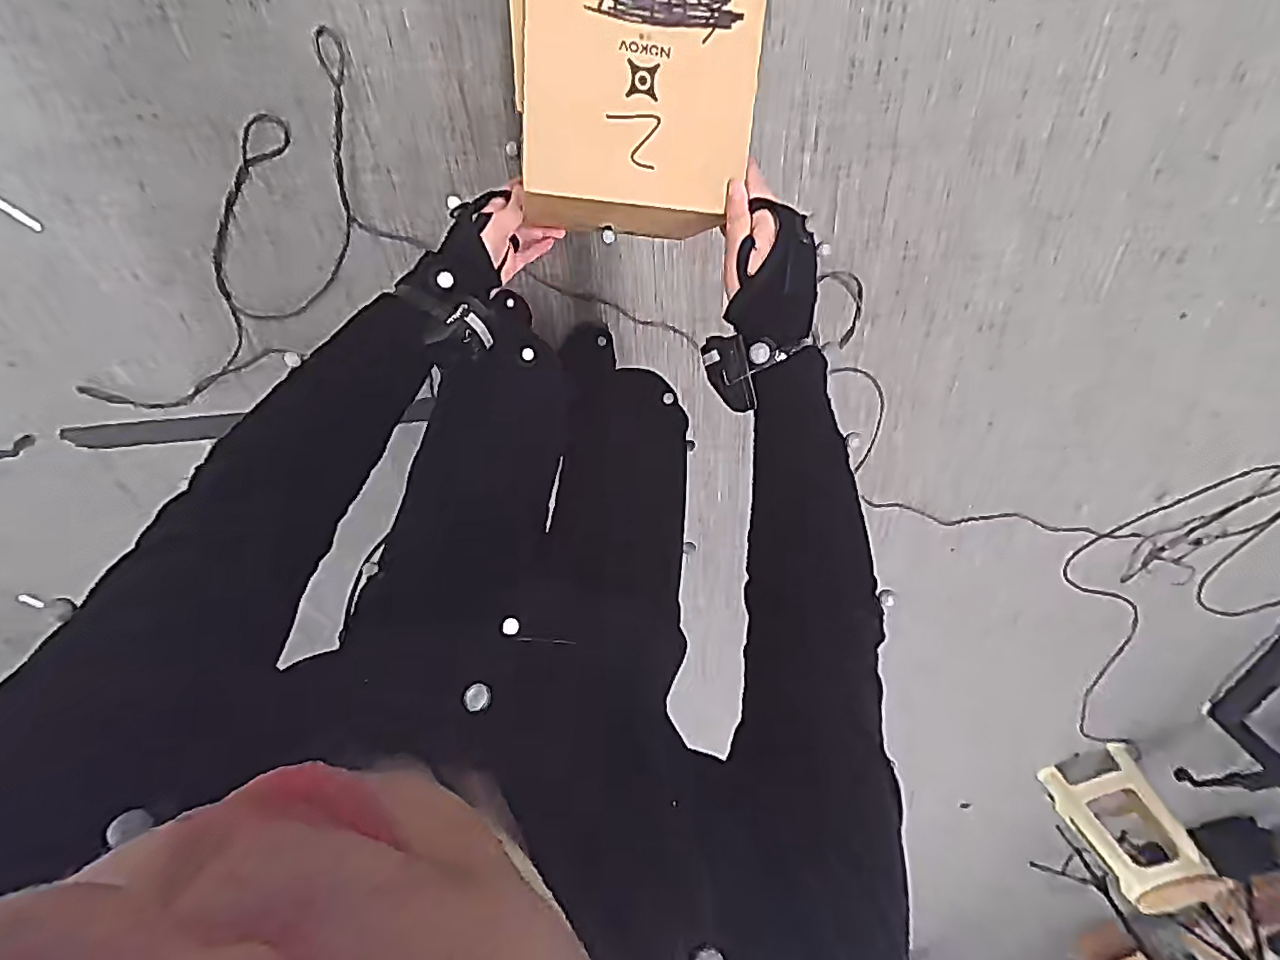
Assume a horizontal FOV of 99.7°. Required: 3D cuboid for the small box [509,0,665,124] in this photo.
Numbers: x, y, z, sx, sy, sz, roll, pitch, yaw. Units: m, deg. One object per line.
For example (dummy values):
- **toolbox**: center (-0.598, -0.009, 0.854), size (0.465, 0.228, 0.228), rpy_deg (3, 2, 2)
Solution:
- **small box**: center (-0.067, -0.555, 0.685), size (0.179, 0.176, 0.168), rpy_deg (-1, 124, -7)
